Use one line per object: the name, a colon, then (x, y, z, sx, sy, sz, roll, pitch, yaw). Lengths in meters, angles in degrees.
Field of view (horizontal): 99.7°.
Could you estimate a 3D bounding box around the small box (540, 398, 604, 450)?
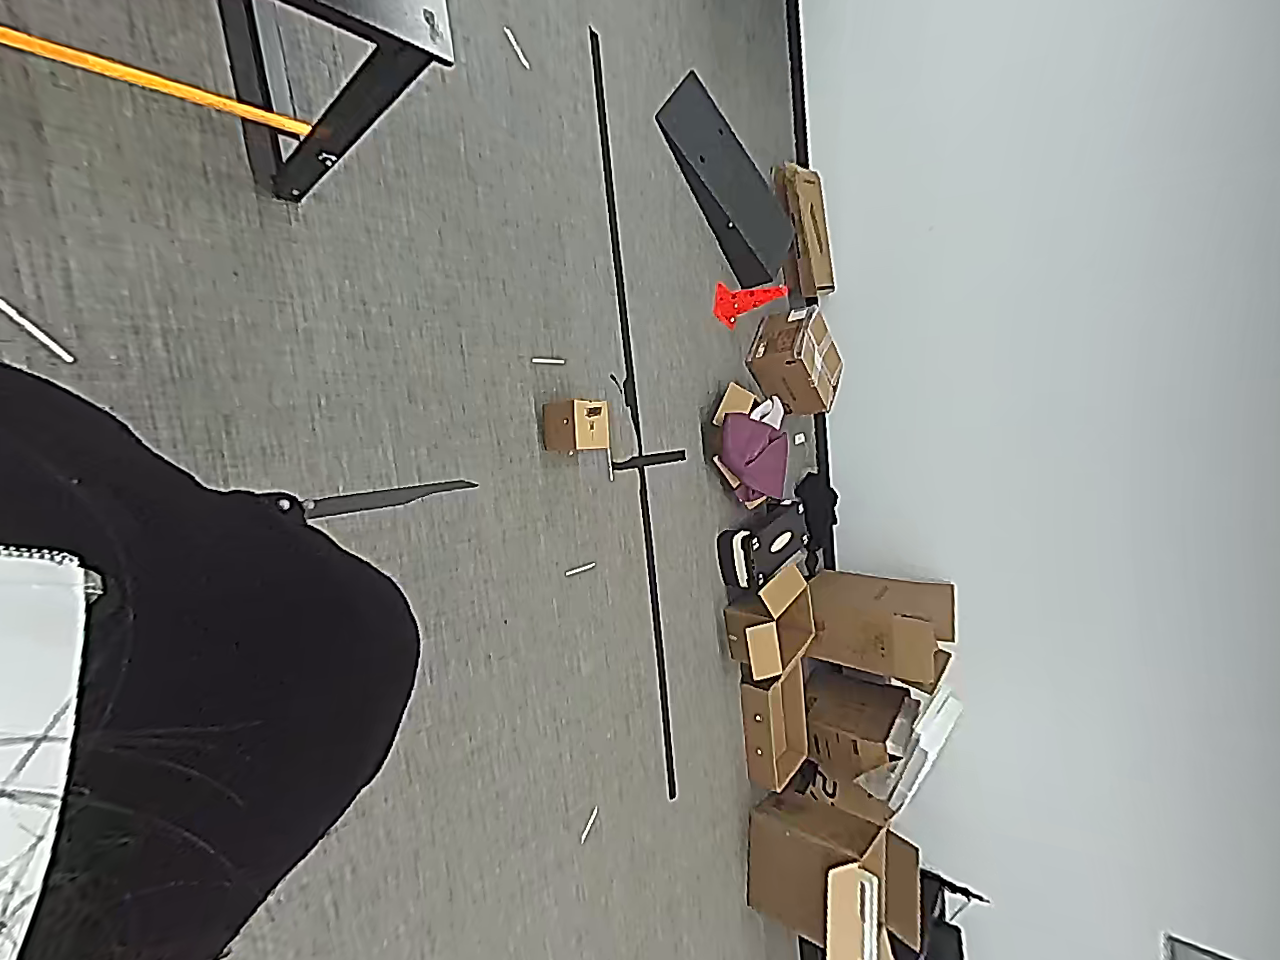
small box: (-0.250, -0.201, 1.975, 0.168, 0.176, 0.179, -6, 95, -49)
